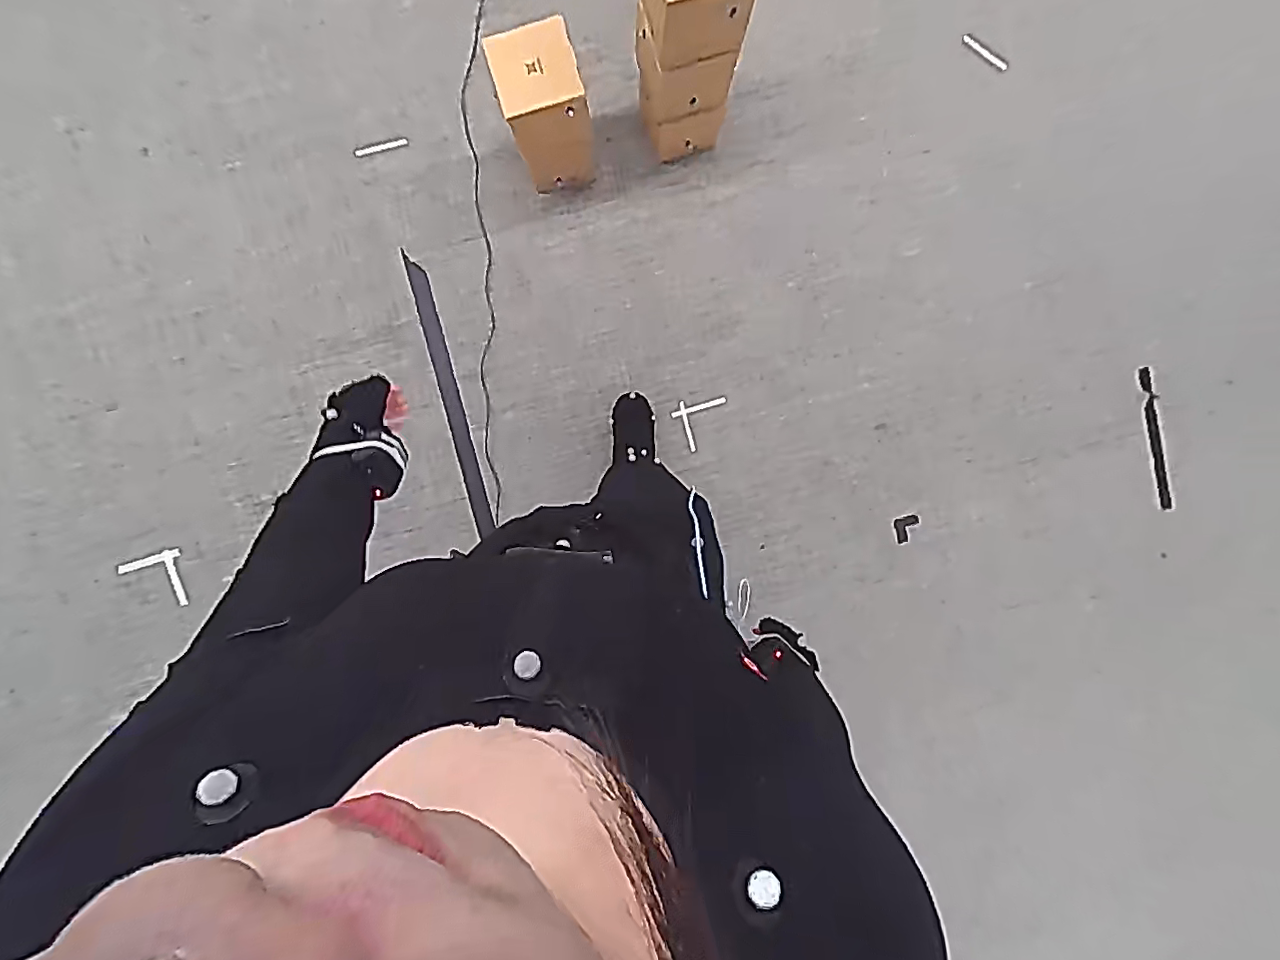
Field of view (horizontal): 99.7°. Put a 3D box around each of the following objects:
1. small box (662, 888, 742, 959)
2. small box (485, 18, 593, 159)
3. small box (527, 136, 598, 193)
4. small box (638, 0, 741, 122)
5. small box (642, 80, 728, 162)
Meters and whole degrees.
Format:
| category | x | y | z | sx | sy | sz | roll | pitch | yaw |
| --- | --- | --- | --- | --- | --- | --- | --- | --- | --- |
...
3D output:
| category | x | y | z | sx | sy | sz | roll | pitch | yaw |
| --- | --- | --- | --- | --- | --- | --- | --- | --- | --- |
| small box | 0.150 | 1.126 | 1.291 | 0.179 | 0.176 | 0.168 | -10 | 95 | -1 |
| small box | -0.211 | -0.839 | 1.180 | 0.179 | 0.176 | 0.168 | -17 | 93 | 1 |
| small box | -0.206 | -0.852 | 1.342 | 0.168 | 0.176 | 0.179 | -13 | 94 | 1 |
| small box | 0.100 | -0.926 | 1.176 | 0.179 | 0.176 | 0.168 | -17 | 93 | -1 |
| small box | 0.104 | -0.936 | 1.340 | 0.168 | 0.176 | 0.179 | -17 | 94 | 0 |
